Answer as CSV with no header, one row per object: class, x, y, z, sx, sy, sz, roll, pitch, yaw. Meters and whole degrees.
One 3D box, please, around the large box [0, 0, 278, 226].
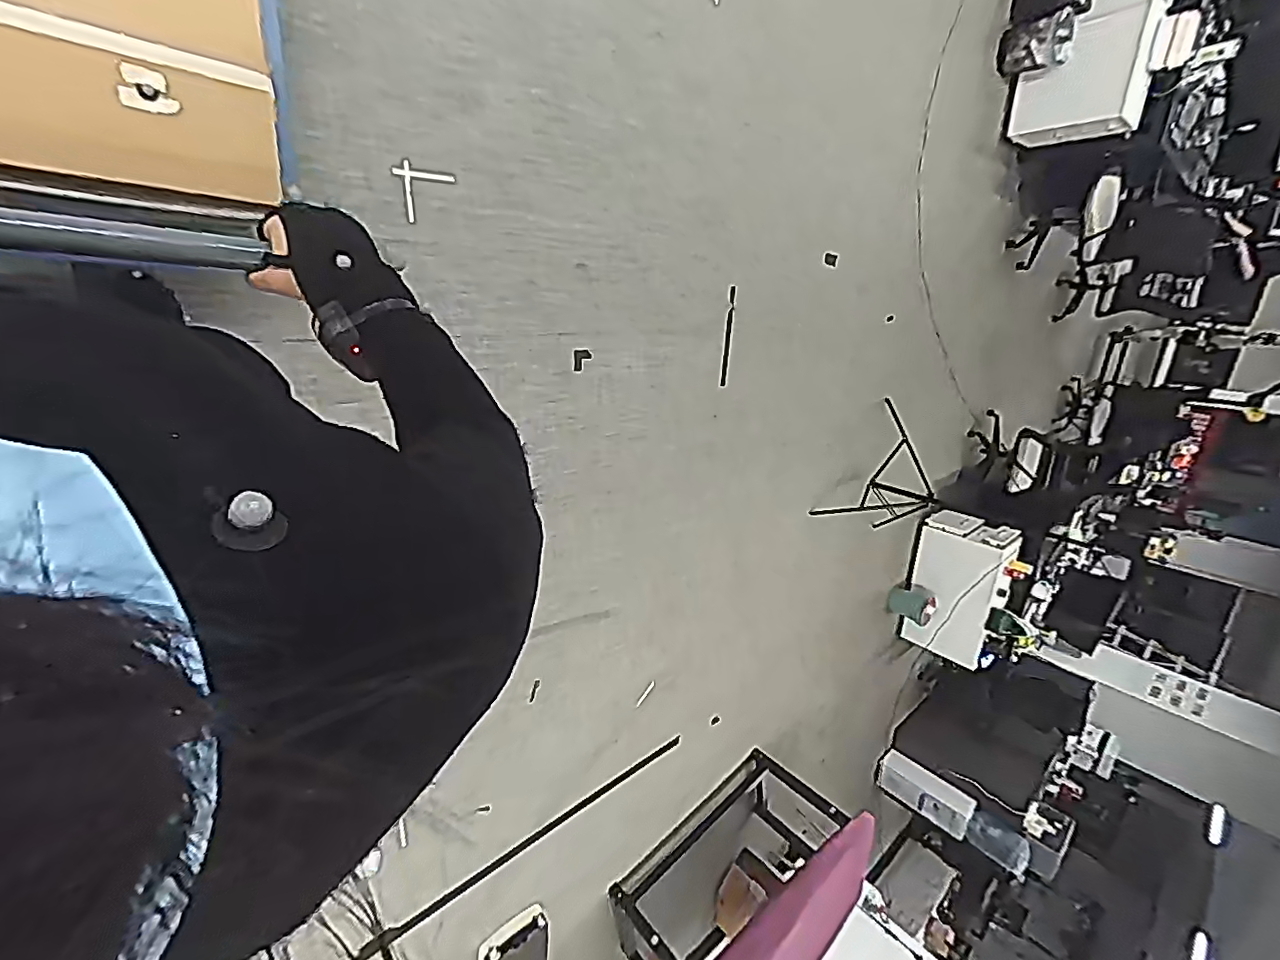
large box,-0.773,-0.548,0.729,0.408,0.320,0.320,-11,113,-41
